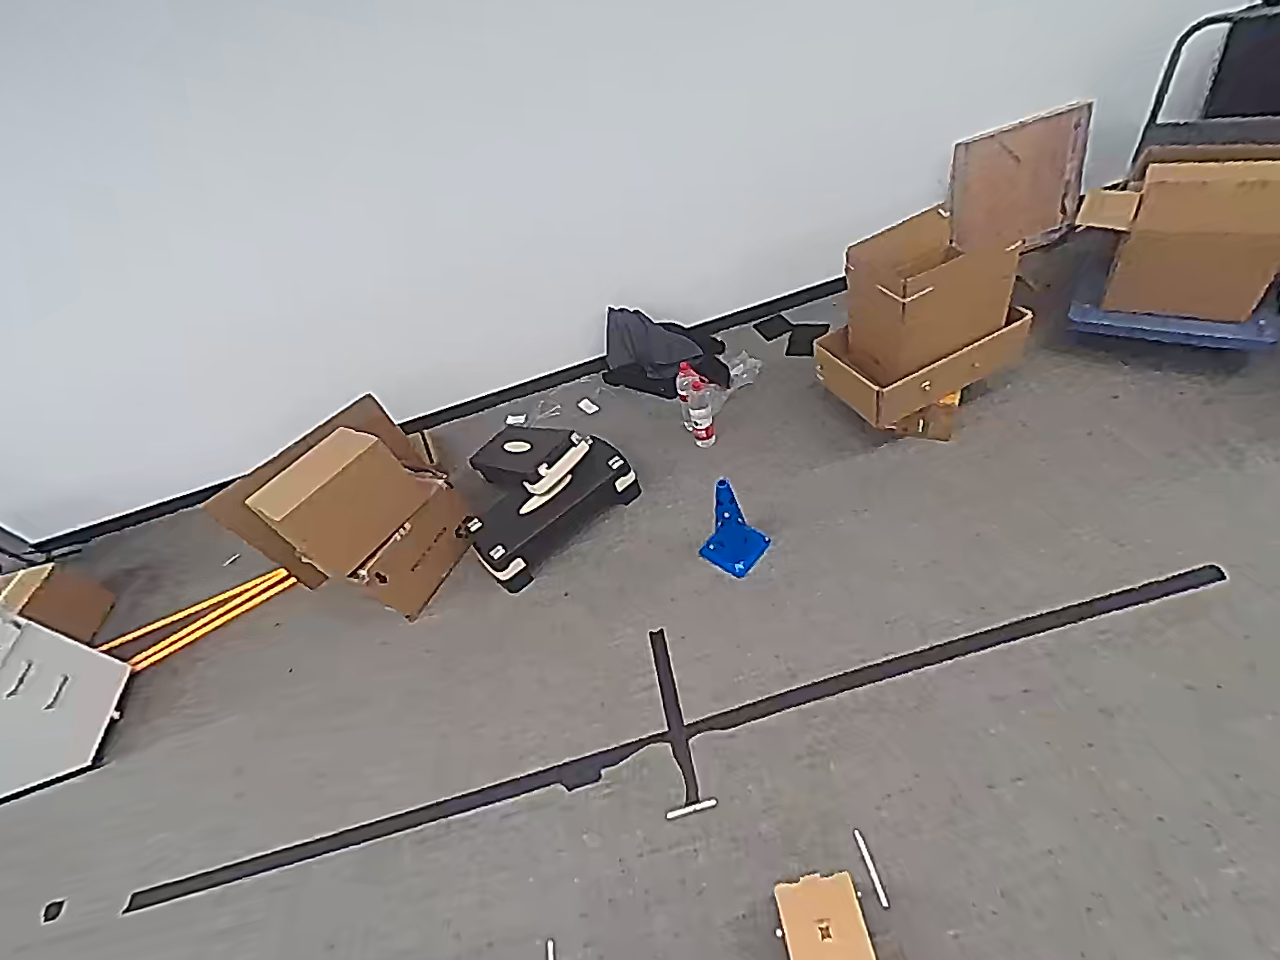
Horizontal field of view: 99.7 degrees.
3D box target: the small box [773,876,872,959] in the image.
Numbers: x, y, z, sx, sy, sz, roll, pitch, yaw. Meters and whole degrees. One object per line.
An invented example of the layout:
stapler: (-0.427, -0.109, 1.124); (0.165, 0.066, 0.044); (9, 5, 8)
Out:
small box: (0.394, 0.978, 1.158); (0.168, 0.176, 0.179); (-15, 45, 5)
